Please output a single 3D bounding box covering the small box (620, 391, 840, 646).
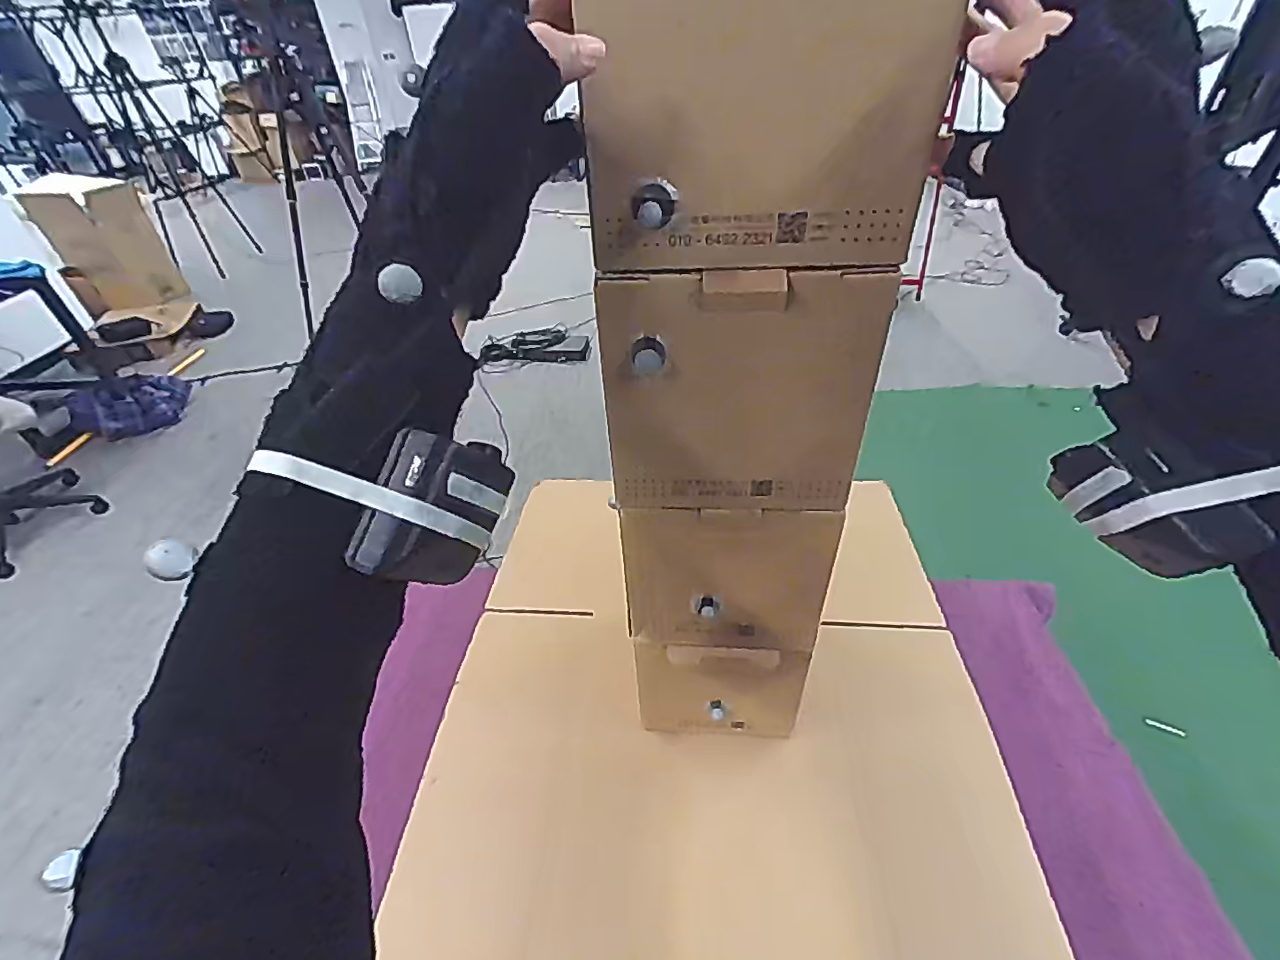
[{"bbox_3d":[0.075,0.031,0.514,0.168,0.176,0.179,1,39,6],"label":"small box"}]

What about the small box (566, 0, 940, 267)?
[{"bbox_3d":[0.058,-0.230,0.313,0.168,0.176,0.179,1,37,6],"label":"small box"}]

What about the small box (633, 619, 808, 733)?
[{"bbox_3d":[0.085,0.158,0.615,0.168,0.176,0.179,0,39,6],"label":"small box"}]
